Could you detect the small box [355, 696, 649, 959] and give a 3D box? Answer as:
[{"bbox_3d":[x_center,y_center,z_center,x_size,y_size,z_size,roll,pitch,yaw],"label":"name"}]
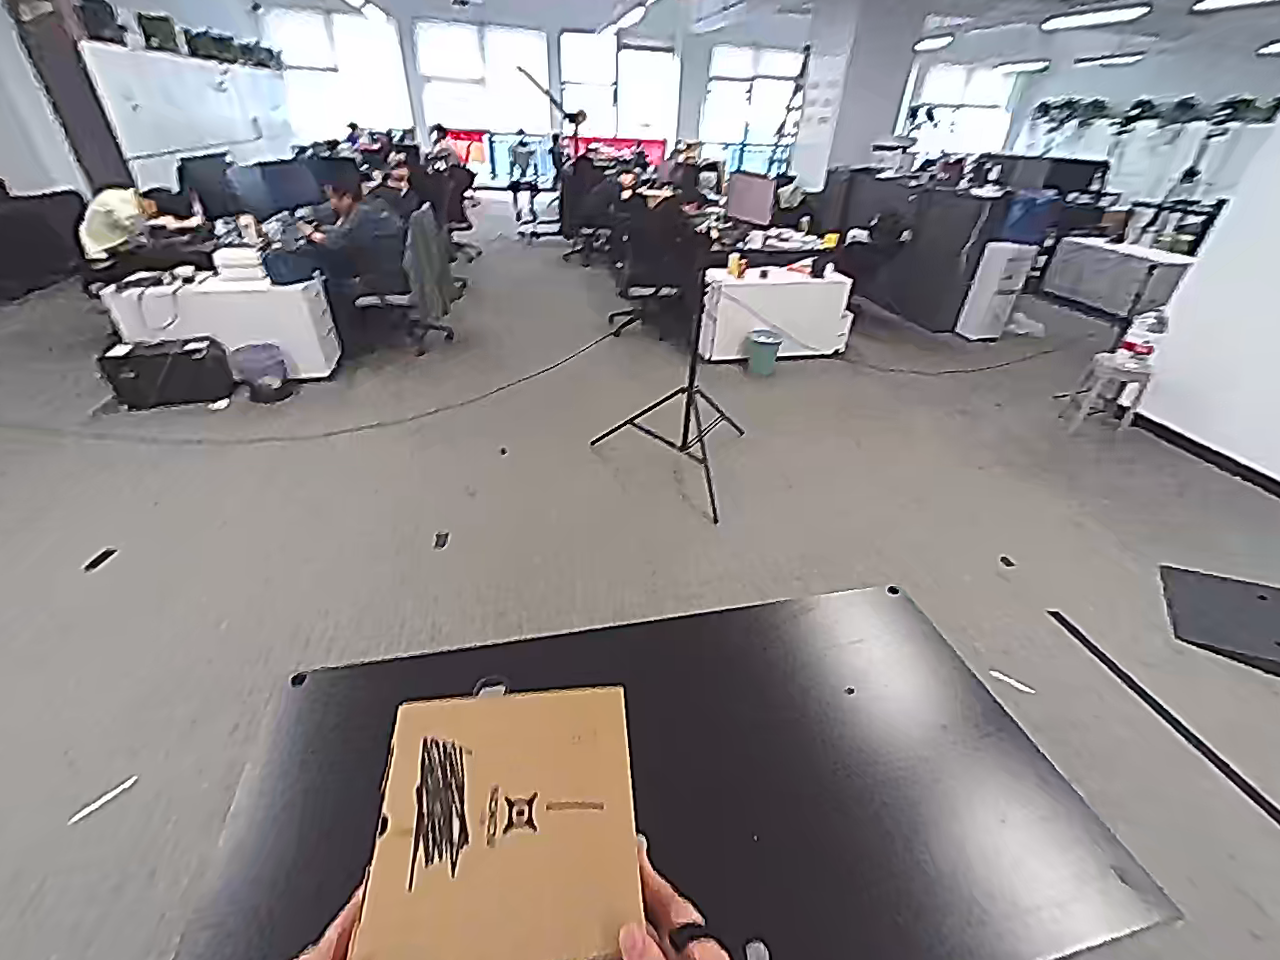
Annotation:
[{"bbox_3d":[-0.092,0.291,0.426,0.179,0.176,0.168,-1,45,-7],"label":"small box"}]
